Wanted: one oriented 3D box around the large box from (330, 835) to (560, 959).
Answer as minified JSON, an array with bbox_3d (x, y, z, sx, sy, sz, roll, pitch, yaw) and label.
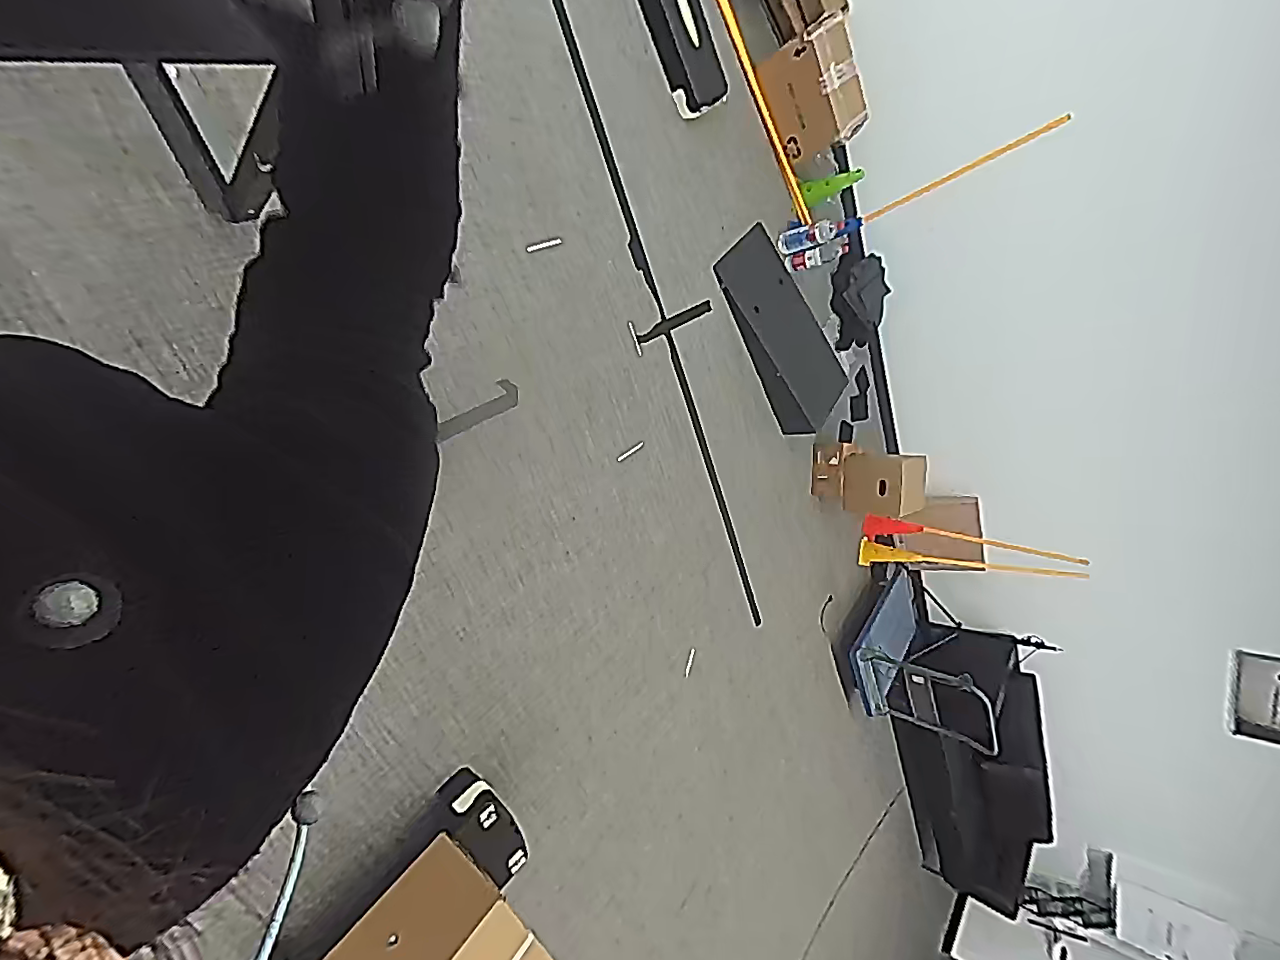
[{"bbox_3d":[-0.474,1.158,1.254,0.408,0.320,0.320,-41,119,-37],"label":"large box"}]
